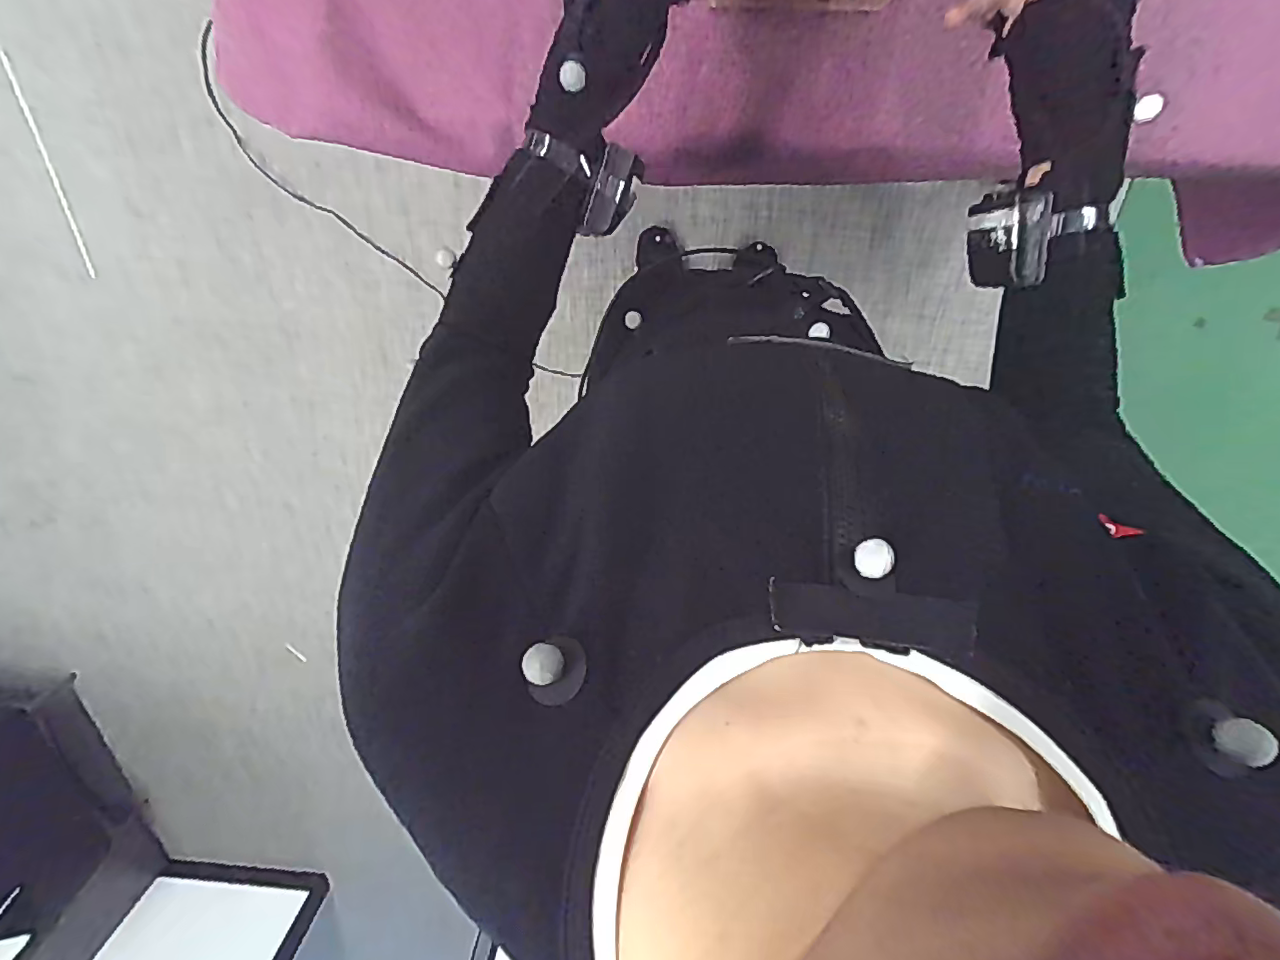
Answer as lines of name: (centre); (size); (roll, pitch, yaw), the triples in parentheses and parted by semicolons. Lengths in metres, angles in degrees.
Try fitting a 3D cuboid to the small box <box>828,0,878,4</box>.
small box: (0.151, -0.500, 0.412); (0.168, 0.176, 0.179); (4, 116, 3)
